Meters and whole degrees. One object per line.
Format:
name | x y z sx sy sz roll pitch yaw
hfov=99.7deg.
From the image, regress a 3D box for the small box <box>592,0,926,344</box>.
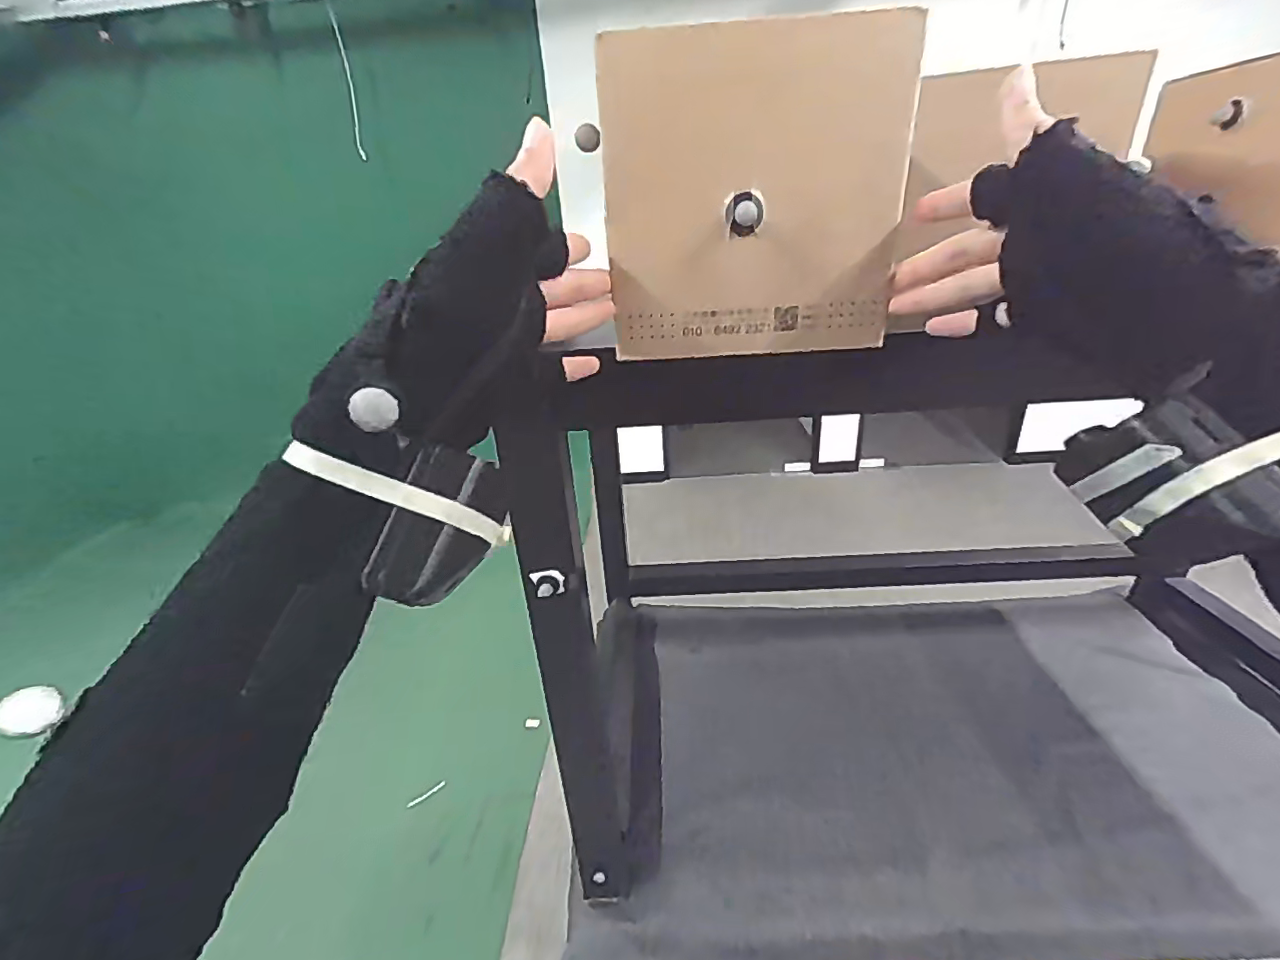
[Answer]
small box | 0.064 -0.191 0.369 0.168 0.176 0.179 -2 26 2
